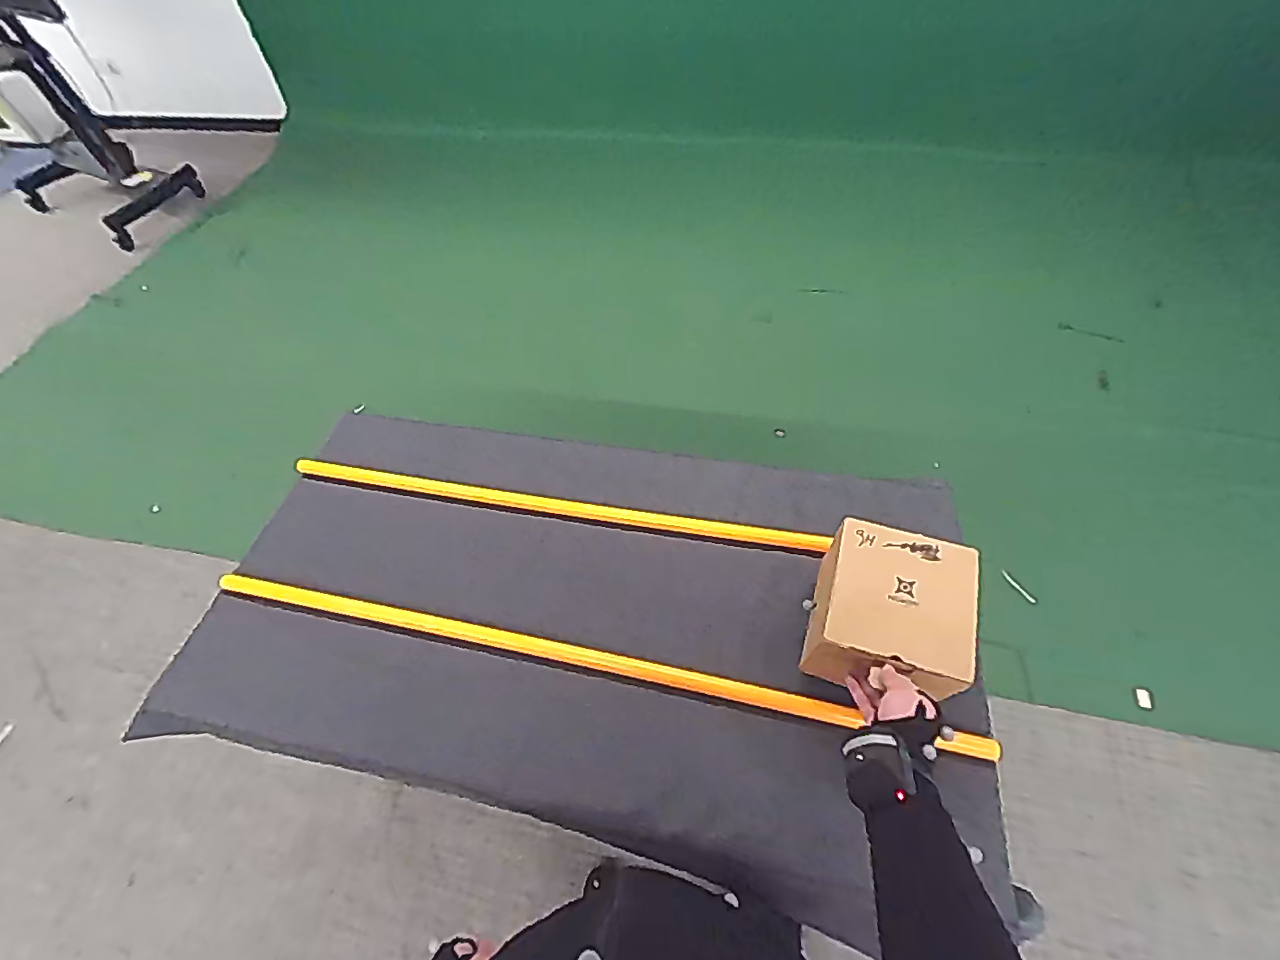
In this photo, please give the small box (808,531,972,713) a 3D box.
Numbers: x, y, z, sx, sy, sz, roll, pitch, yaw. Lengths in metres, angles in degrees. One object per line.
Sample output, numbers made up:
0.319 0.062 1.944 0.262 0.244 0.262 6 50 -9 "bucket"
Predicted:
0.329 0.197 0.733 0.168 0.176 0.179 11 59 14 "small box"
